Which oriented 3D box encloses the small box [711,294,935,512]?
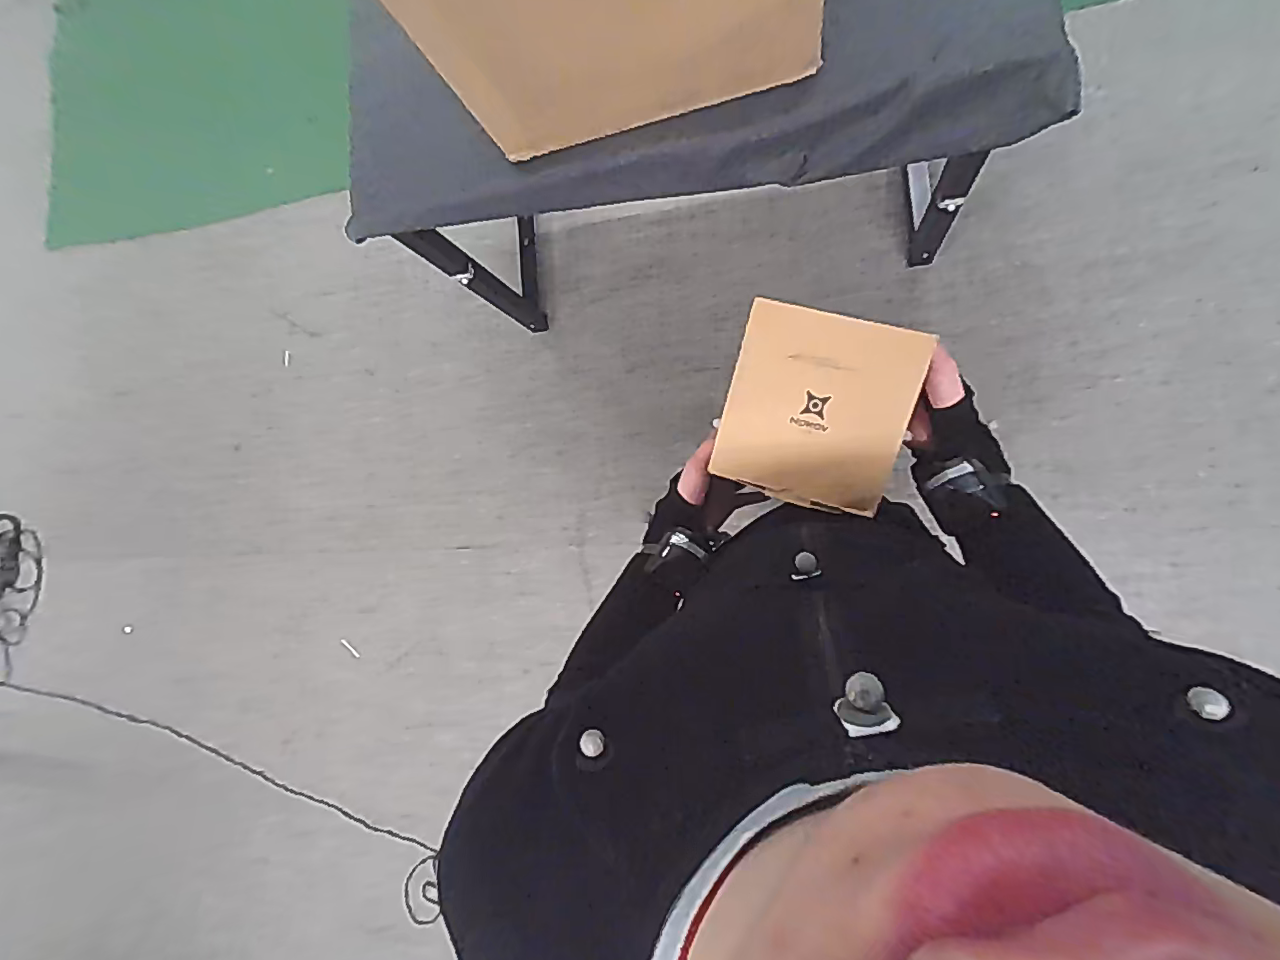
[{"bbox_3d":[0.186,-0.085,0.586,0.168,0.176,0.179,15,103,11],"label":"small box"}]
